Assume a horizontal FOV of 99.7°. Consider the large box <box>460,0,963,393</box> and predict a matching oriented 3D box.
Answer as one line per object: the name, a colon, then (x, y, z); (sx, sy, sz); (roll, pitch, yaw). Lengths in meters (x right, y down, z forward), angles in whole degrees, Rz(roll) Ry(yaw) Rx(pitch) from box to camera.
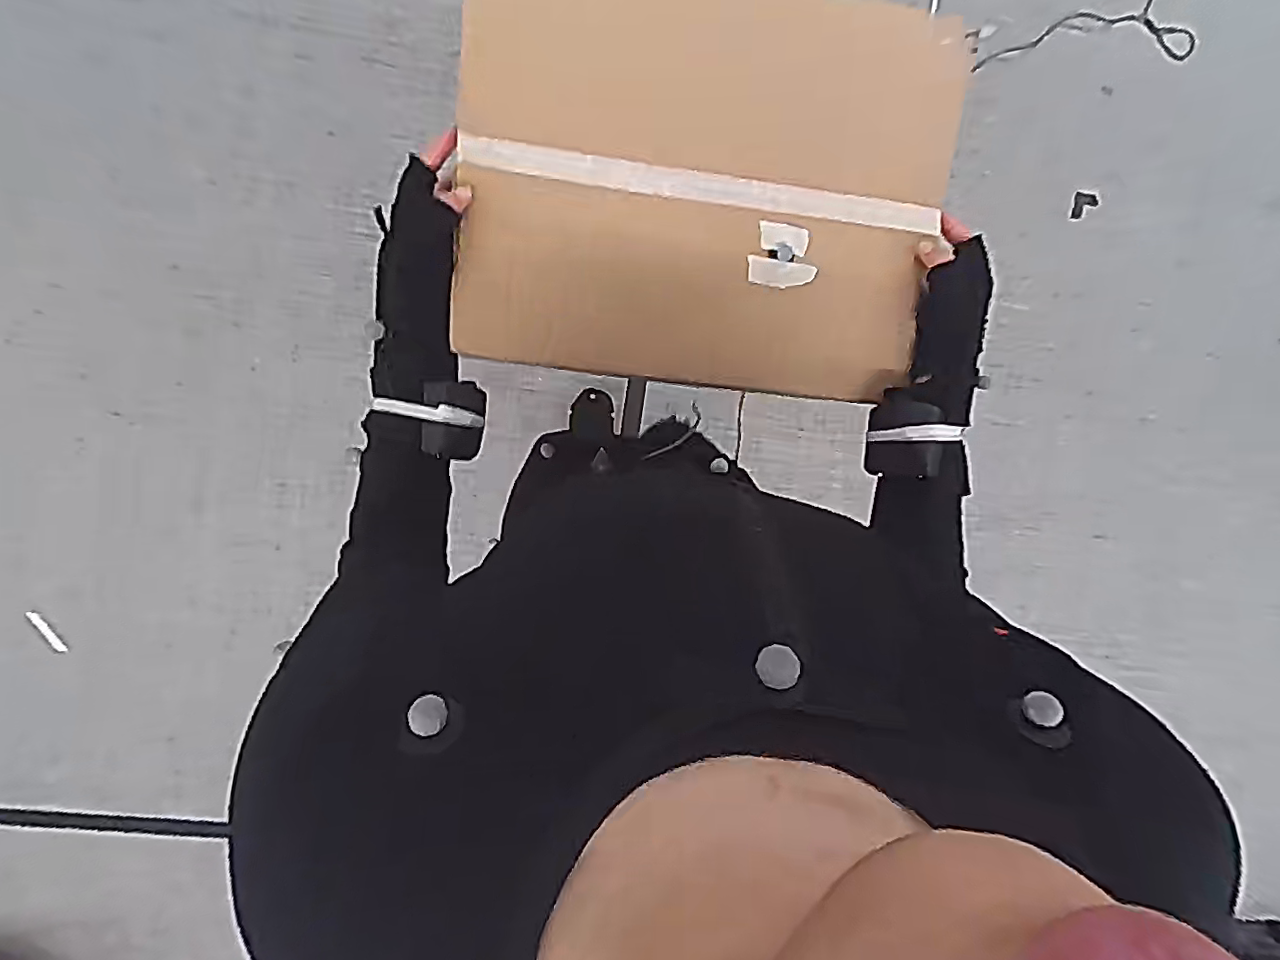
large box: (0.041, -0.277, 0.597); (0.408, 0.320, 0.320); (6, 102, -8)
